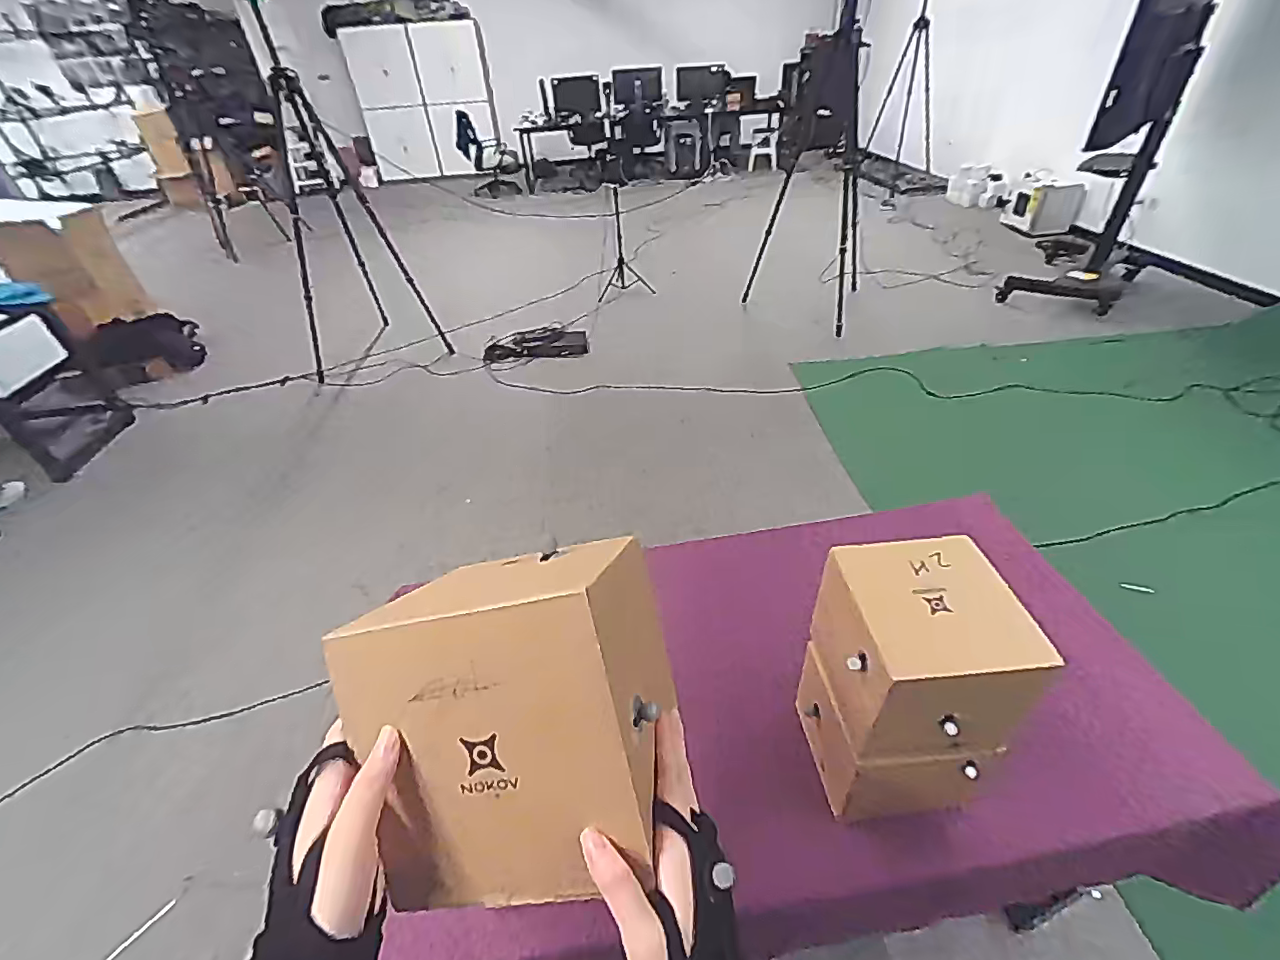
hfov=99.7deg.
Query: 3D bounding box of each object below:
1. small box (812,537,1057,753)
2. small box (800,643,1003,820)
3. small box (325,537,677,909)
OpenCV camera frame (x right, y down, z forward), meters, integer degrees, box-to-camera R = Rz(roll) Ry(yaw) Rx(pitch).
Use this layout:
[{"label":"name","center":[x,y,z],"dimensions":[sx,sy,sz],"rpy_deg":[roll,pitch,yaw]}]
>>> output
[{"label":"small box","center":[0.308,0.190,0.614],"dimensions":[0.168,0.176,0.179],"rpy_deg":[-4,39,-1]},{"label":"small box","center":[0.321,0.322,0.712],"dimensions":[0.179,0.176,0.168],"rpy_deg":[-6,38,-2]},{"label":"small box","center":[-0.075,0.152,0.385],"dimensions":[0.168,0.179,0.176],"rpy_deg":[-12,3,11]}]
